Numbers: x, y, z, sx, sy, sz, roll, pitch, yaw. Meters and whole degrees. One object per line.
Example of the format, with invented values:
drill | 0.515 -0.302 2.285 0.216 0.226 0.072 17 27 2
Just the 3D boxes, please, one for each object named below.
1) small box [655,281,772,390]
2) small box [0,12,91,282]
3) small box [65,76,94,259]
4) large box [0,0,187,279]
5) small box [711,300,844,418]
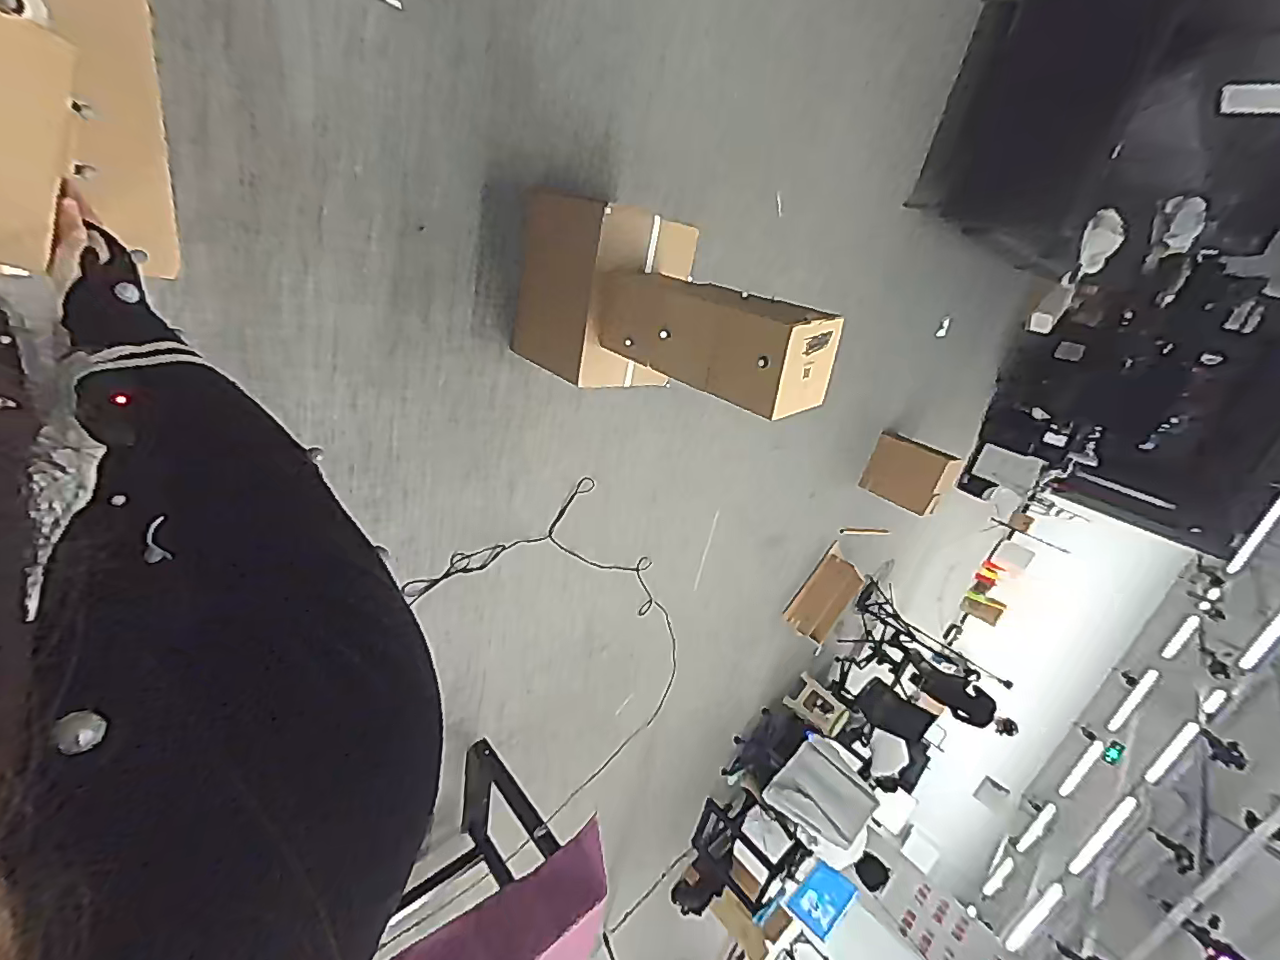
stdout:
small box | 0.148 -0.309 1.141 0.168 0.176 0.179 -19 129 -37
small box | -0.550 -0.281 0.414 0.168 0.176 0.179 8 110 -47
small box | -0.654 -0.341 0.524 0.168 0.176 0.179 3 113 -46
large box | -0.799 -0.490 0.661 0.320 0.320 0.408 -11 122 -42
small box | 0.255 -0.241 1.035 0.168 0.176 0.179 -20 129 -36
